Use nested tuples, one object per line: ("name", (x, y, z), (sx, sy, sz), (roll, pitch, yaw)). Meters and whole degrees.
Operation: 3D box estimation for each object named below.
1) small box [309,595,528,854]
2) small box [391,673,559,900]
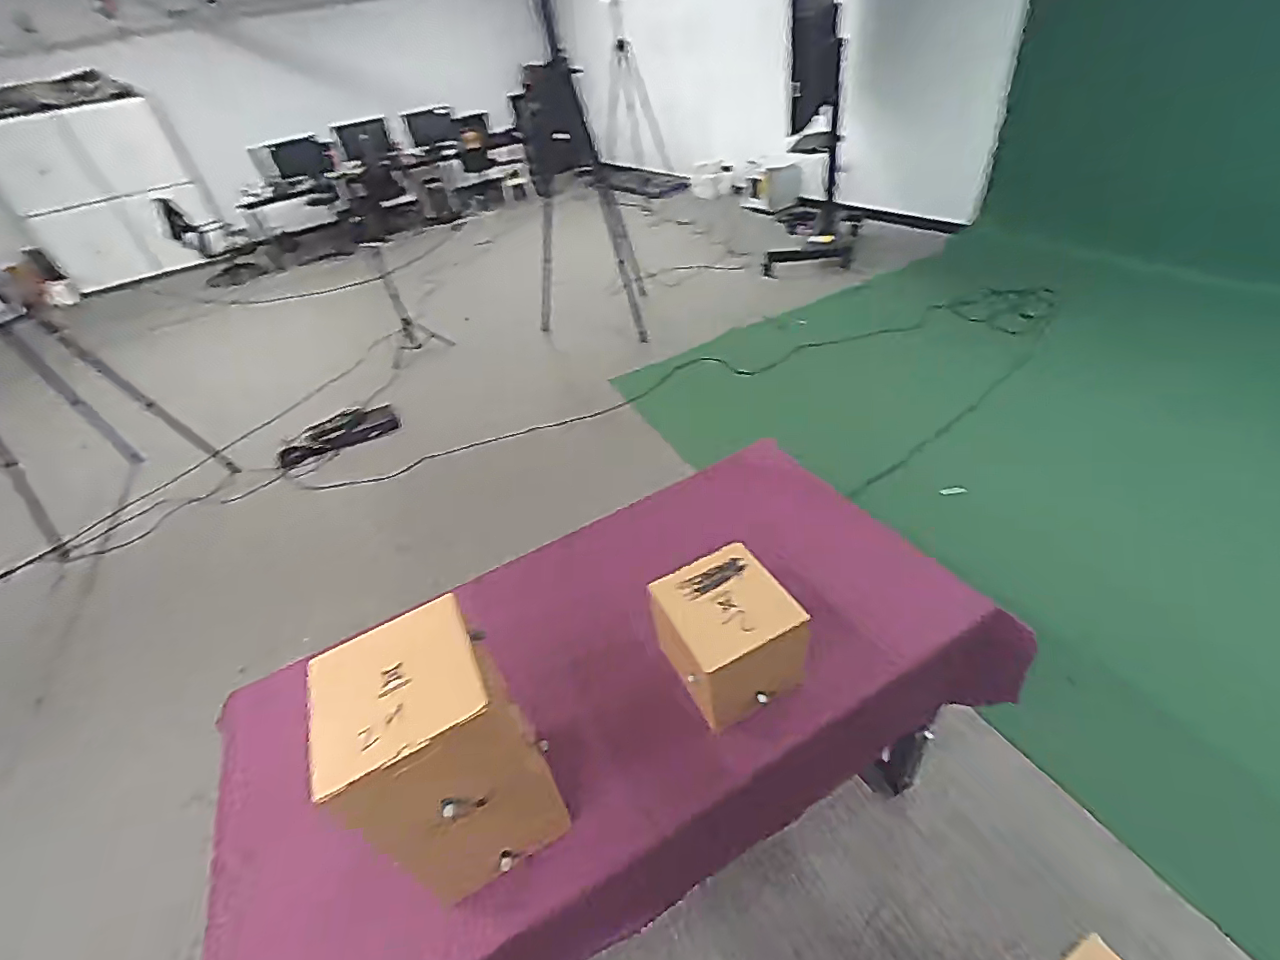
("small box", (-0.247, 0.273, 0.615), (0.168, 0.176, 0.179), (-26, 42, -16))
("small box", (-0.220, 0.402, 0.716), (0.179, 0.176, 0.168), (-26, 41, -18))
